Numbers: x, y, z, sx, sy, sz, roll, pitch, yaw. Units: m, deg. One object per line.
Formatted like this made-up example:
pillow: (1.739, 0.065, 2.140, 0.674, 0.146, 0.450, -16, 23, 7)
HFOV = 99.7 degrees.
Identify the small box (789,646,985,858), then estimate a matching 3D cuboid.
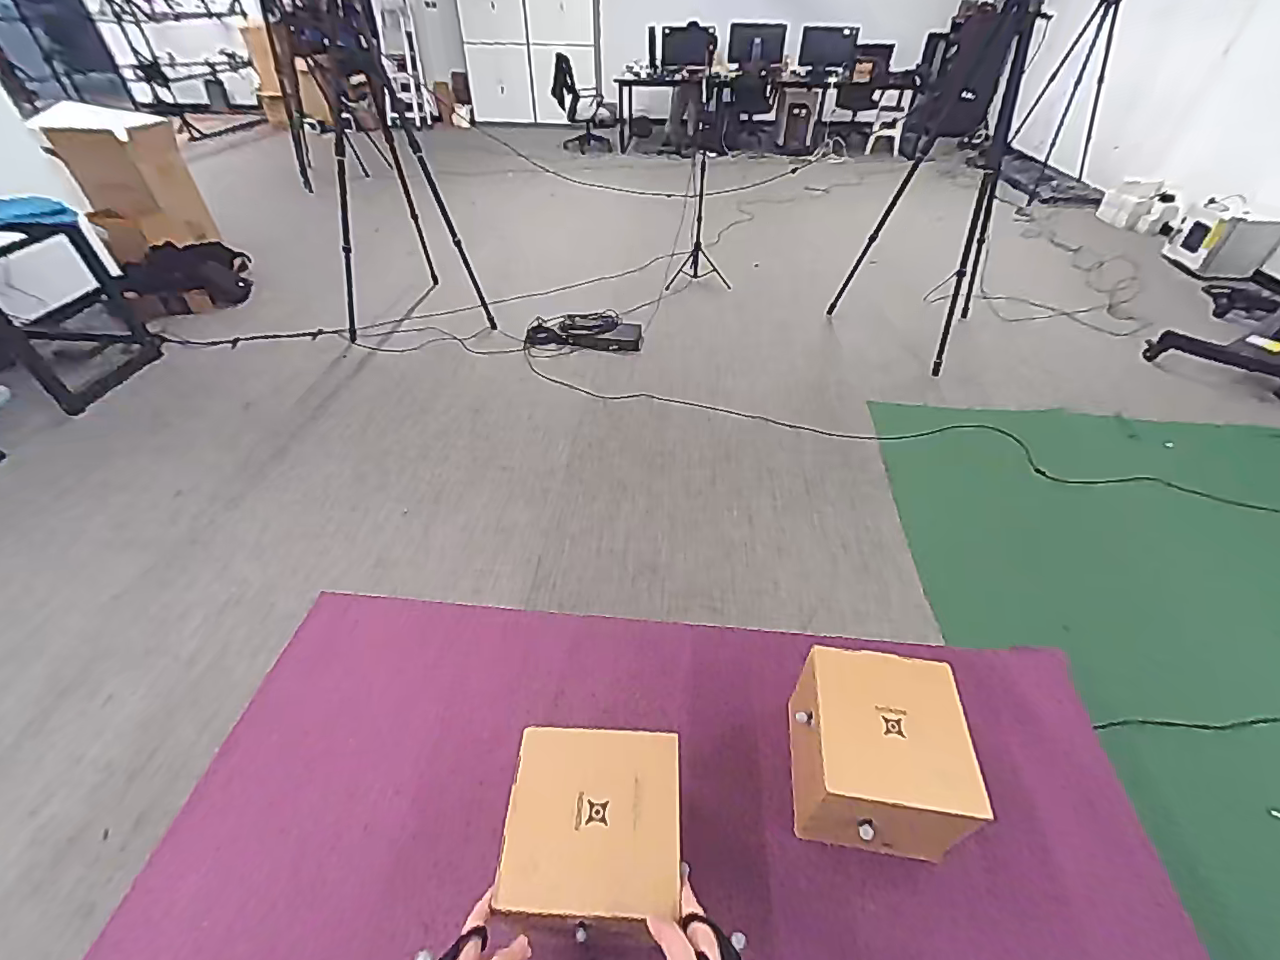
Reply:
small box: (0.282, 0.334, 0.664, 0.168, 0.176, 0.179, 6, 42, 7)

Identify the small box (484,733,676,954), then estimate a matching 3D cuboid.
small box: (-0.050, 0.399, 0.594, 0.179, 0.176, 0.168, 2, 42, 2)
